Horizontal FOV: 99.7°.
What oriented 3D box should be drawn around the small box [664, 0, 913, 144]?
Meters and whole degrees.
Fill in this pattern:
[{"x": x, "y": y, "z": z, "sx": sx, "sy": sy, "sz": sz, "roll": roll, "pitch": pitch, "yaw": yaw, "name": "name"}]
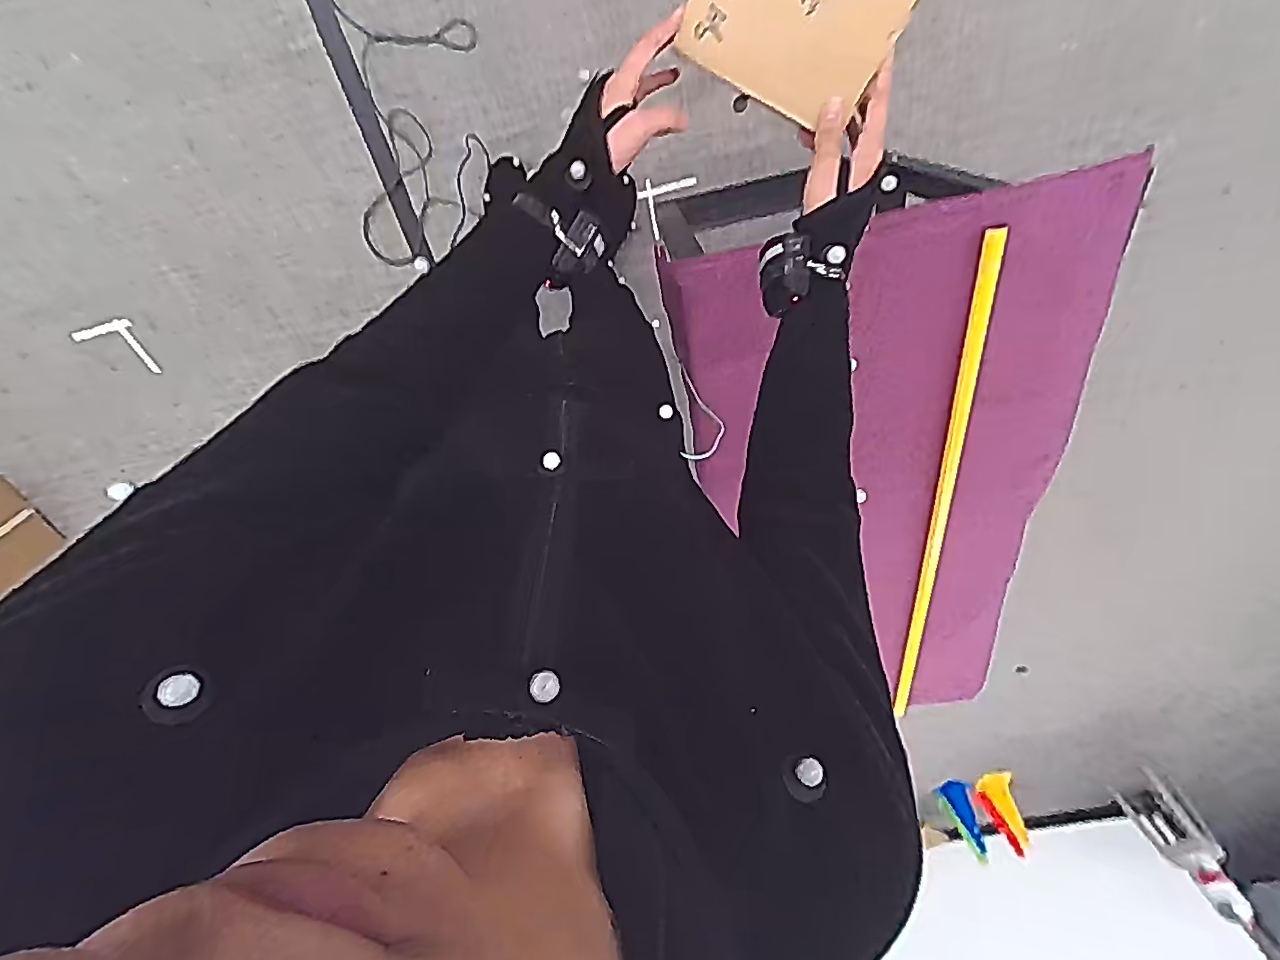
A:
[{"x": 0.136, "y": -0.448, "z": 0.500, "sx": 0.179, "sy": 0.176, "sz": 0.168, "roll": 21, "pitch": 126, "yaw": -11, "name": "small box"}]
